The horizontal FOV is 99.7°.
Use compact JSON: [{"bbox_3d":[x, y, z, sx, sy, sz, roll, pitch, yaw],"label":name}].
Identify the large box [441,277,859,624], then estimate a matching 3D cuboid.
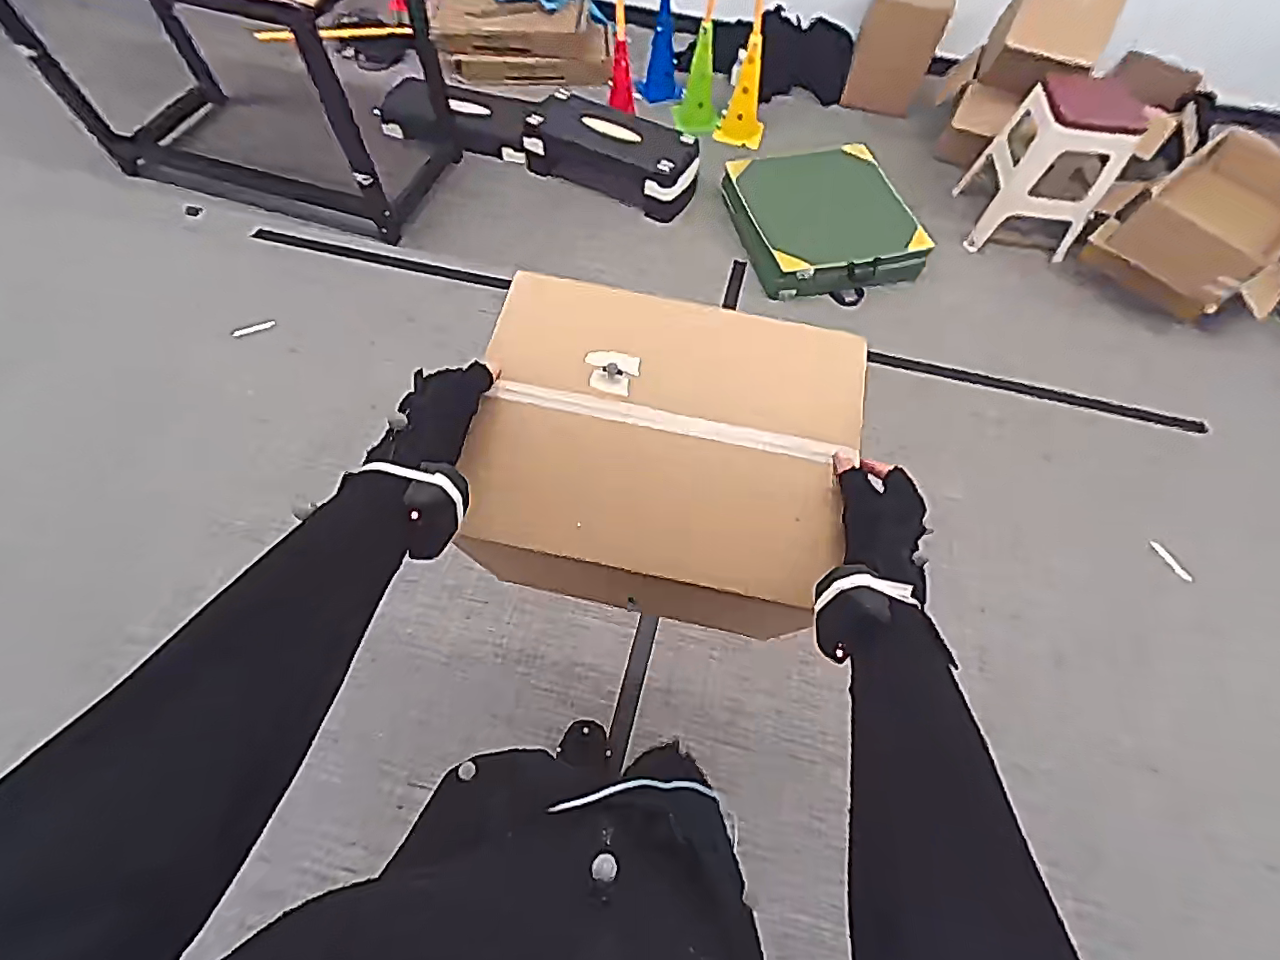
[{"bbox_3d":[0.026,-0.012,0.714,0.408,0.320,0.320,12,69,4],"label":"large box"}]
